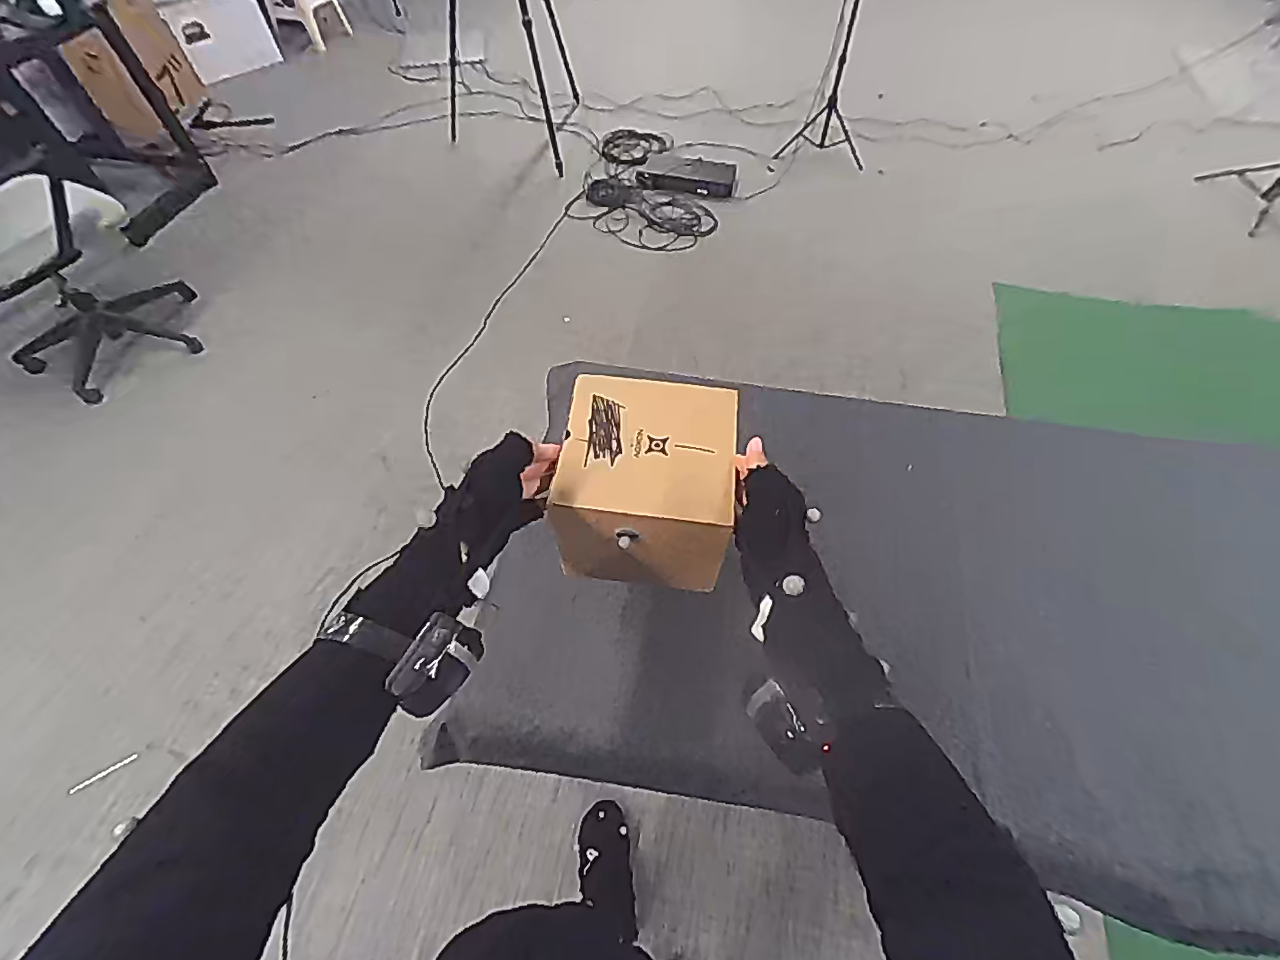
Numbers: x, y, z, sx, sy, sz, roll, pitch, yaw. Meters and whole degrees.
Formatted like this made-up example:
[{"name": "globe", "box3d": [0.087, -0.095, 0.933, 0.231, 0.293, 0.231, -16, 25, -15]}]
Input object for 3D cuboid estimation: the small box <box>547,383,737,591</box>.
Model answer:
[{"name": "small box", "box3d": [0.007, 0.013, 0.609, 0.179, 0.176, 0.168, 6, 58, 3]}]
